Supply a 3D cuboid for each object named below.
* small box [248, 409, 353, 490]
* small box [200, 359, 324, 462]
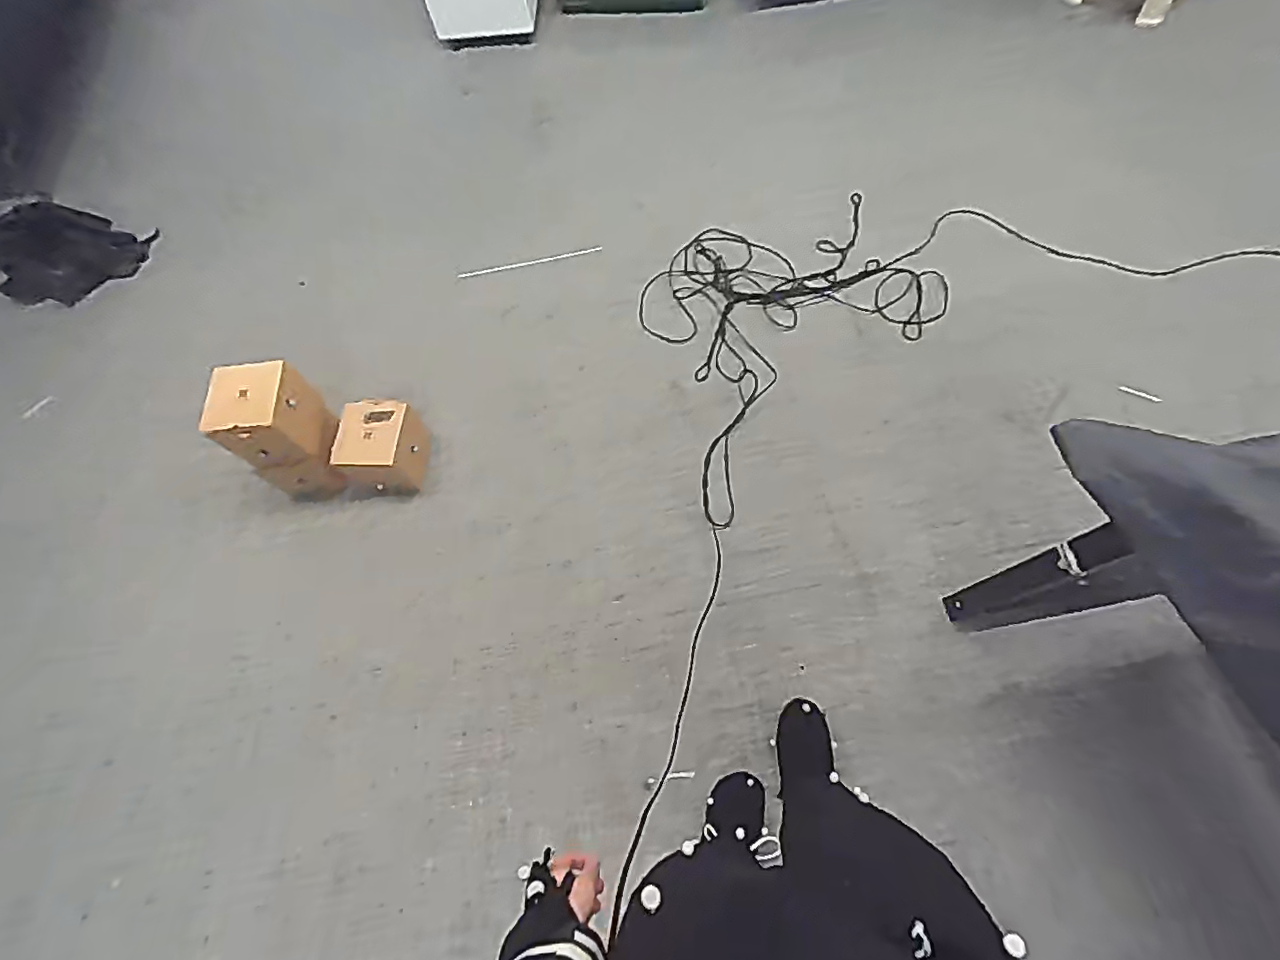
[{"bbox_3d":[-0.888,-0.082,1.432,0.168,0.176,0.179,-7,67,1],"label":"small box"},{"bbox_3d":[-0.887,-0.162,1.289,0.168,0.176,0.179,-7,67,0],"label":"small box"}]
